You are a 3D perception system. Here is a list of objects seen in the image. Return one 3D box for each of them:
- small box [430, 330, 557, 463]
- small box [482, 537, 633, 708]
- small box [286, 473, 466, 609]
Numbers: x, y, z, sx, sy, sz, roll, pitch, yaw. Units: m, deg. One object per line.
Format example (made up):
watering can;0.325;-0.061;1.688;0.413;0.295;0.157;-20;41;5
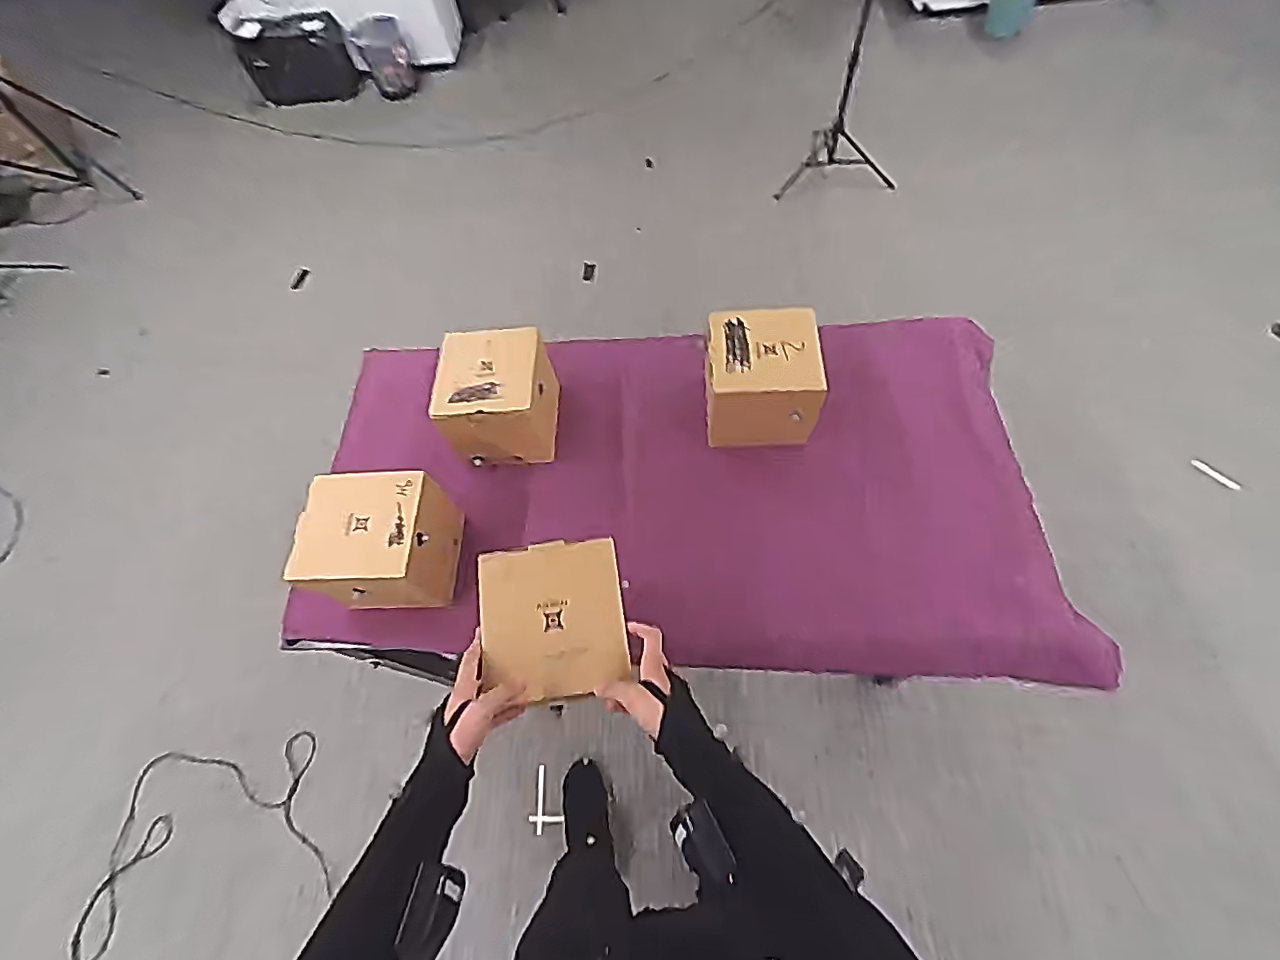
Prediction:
small box;-0.248;-0.139;0.961;0.168;0.176;0.179;-3;62;4
small box;-0.105;0.190;0.702;0.168;0.176;0.179;-7;67;-6
small box;-0.398;0.102;0.848;0.179;0.176;0.168;-3;63;5
